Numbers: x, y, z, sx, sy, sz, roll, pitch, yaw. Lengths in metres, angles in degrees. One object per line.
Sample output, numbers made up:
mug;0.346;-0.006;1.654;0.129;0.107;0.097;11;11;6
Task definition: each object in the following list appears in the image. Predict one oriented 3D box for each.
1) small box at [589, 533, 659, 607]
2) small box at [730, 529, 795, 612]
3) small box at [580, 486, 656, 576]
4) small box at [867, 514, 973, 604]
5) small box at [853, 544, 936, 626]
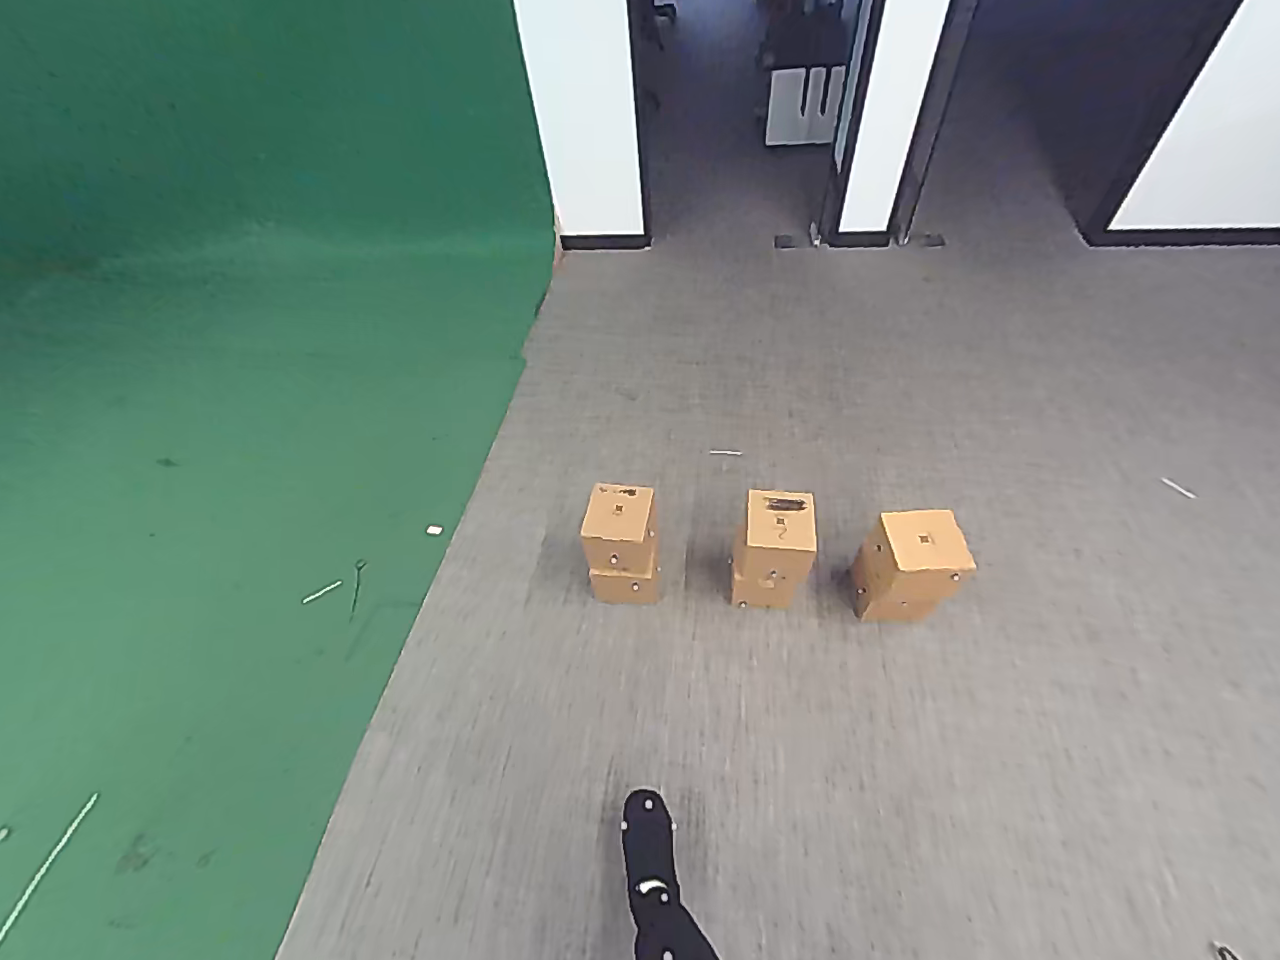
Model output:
small box;-0.039;0.259;1.587;0.179;0.176;0.168;3;51;8
small box;0.348;0.261;1.545;0.168;0.176;0.179;3;51;8
small box;-0.052;0.142;1.471;0.168;0.176;0.179;6;53;10
small box;0.684;0.201;1.350;0.179;0.176;0.168;-3;51;3
small box;0.696;0.290;1.486;0.179;0.176;0.168;1;52;6
